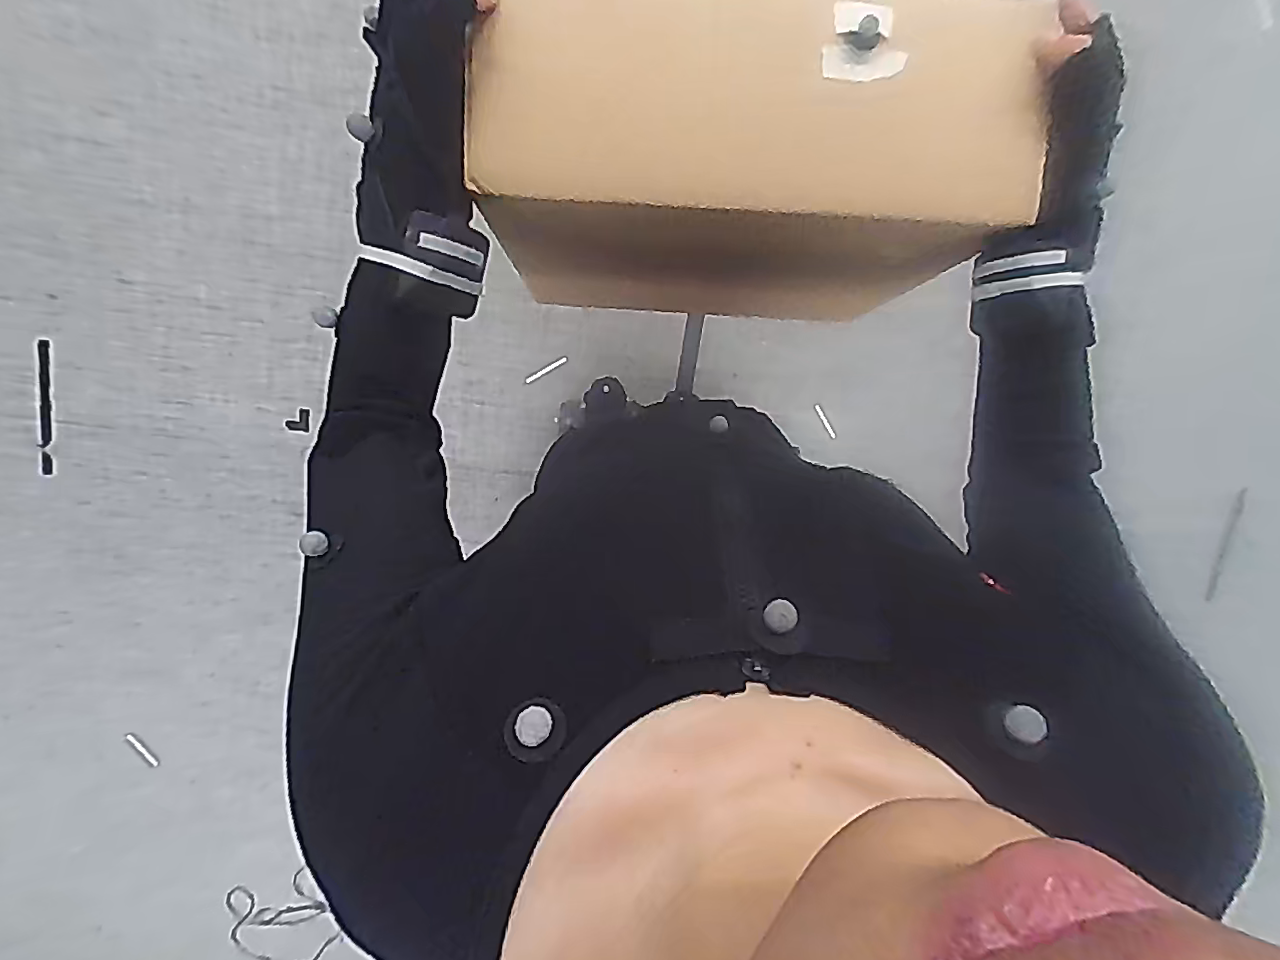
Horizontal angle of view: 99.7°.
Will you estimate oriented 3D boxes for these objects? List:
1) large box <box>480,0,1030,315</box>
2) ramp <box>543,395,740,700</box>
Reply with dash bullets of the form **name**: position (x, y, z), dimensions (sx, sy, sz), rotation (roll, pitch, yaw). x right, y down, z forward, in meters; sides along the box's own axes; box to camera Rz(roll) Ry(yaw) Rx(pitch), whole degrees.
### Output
- **large box**: position (0.079, -0.360, 0.535), dimensions (0.408, 0.320, 0.320), rotation (2, 94, -3)
- **ramp**: position (-0.024, 0.259, 1.643), dimensions (0.509, 0.206, 0.991), rotation (5, 101, -3)
